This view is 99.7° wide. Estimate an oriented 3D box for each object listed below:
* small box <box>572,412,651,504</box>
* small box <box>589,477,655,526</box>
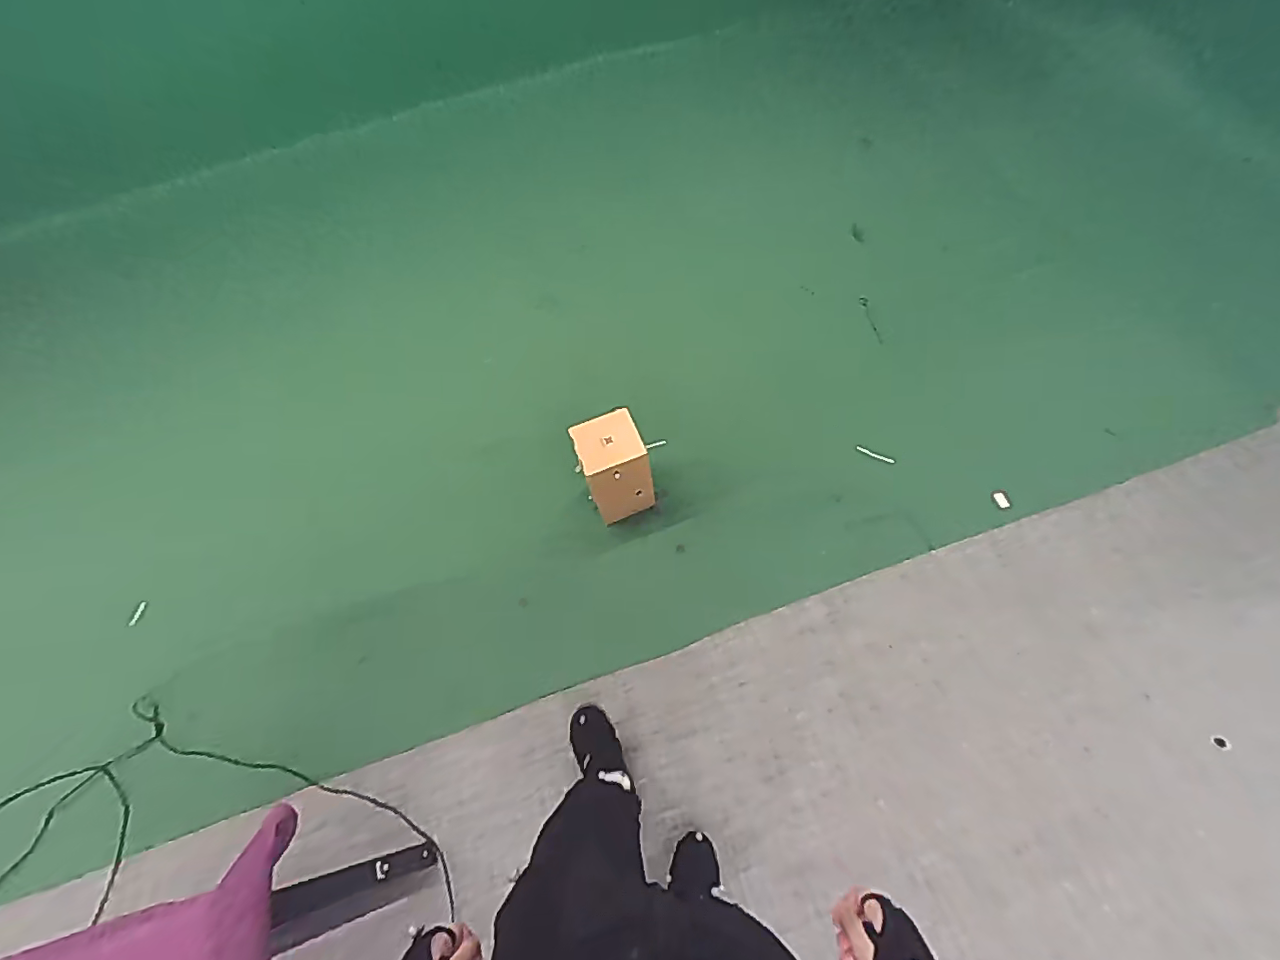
[{"bbox_3d":[-0.075,-0.058,1.531,0.179,0.176,0.168,-22,62,-5],"label":"small box"},{"bbox_3d":[-0.060,0.018,1.674,0.179,0.176,0.168,-23,62,-6],"label":"small box"}]
